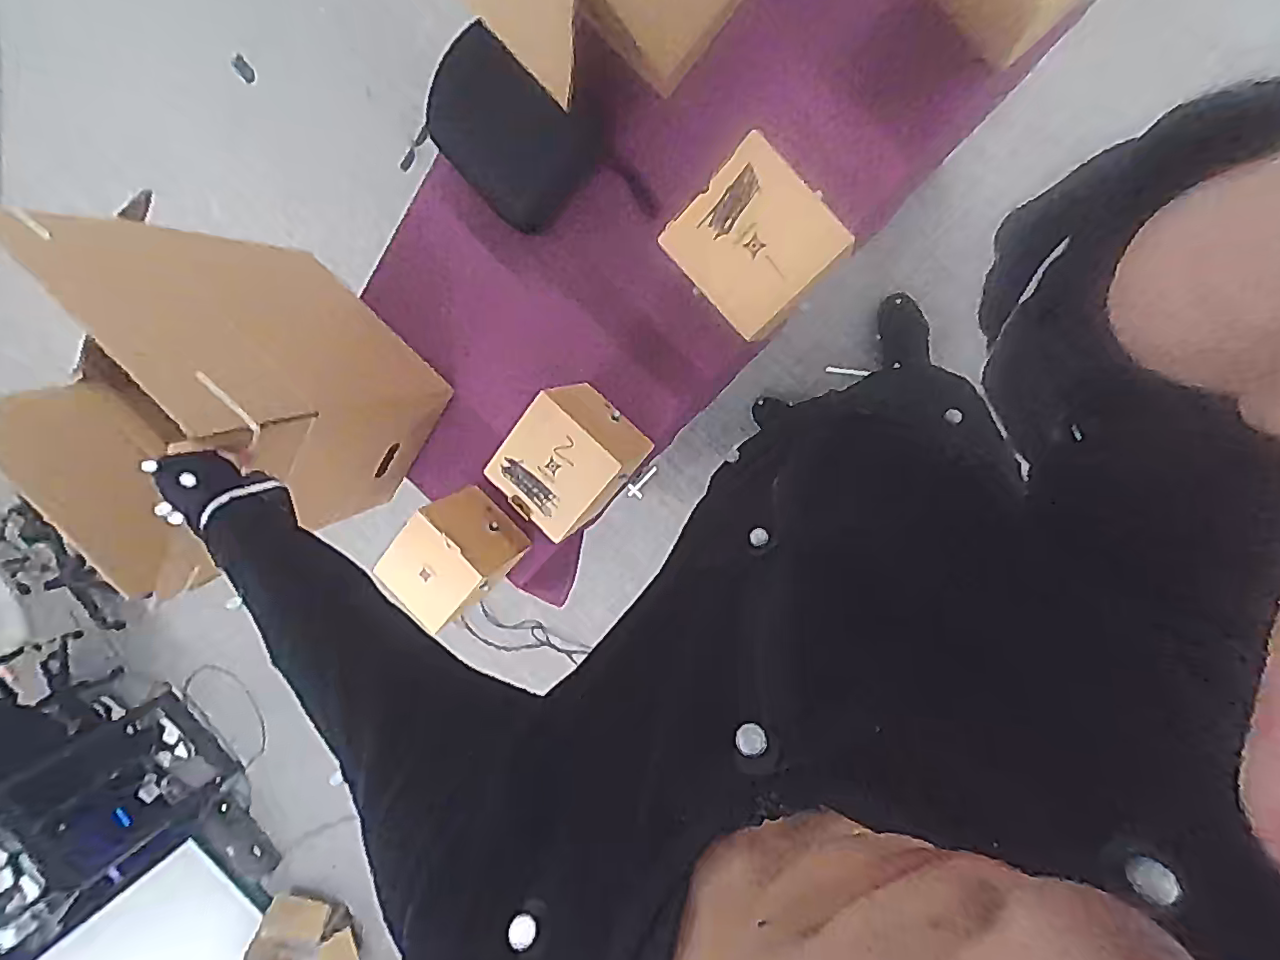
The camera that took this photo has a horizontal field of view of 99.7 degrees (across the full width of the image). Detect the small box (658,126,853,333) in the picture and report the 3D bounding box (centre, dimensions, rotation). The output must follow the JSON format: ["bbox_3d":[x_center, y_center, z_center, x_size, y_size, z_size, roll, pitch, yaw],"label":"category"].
[{"bbox_3d":[0.157,-0.314,0.722,0.168,0.176,0.179,-42,89,24],"label":"small box"}]

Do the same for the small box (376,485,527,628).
[{"bbox_3d":[-0.346,0.136,1.018,0.168,0.176,0.179,44,112,3],"label":"small box"}]

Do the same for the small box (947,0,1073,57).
[{"bbox_3d":[0.412,-0.596,0.554,0.168,0.176,0.179,-39,89,25],"label":"small box"}]
